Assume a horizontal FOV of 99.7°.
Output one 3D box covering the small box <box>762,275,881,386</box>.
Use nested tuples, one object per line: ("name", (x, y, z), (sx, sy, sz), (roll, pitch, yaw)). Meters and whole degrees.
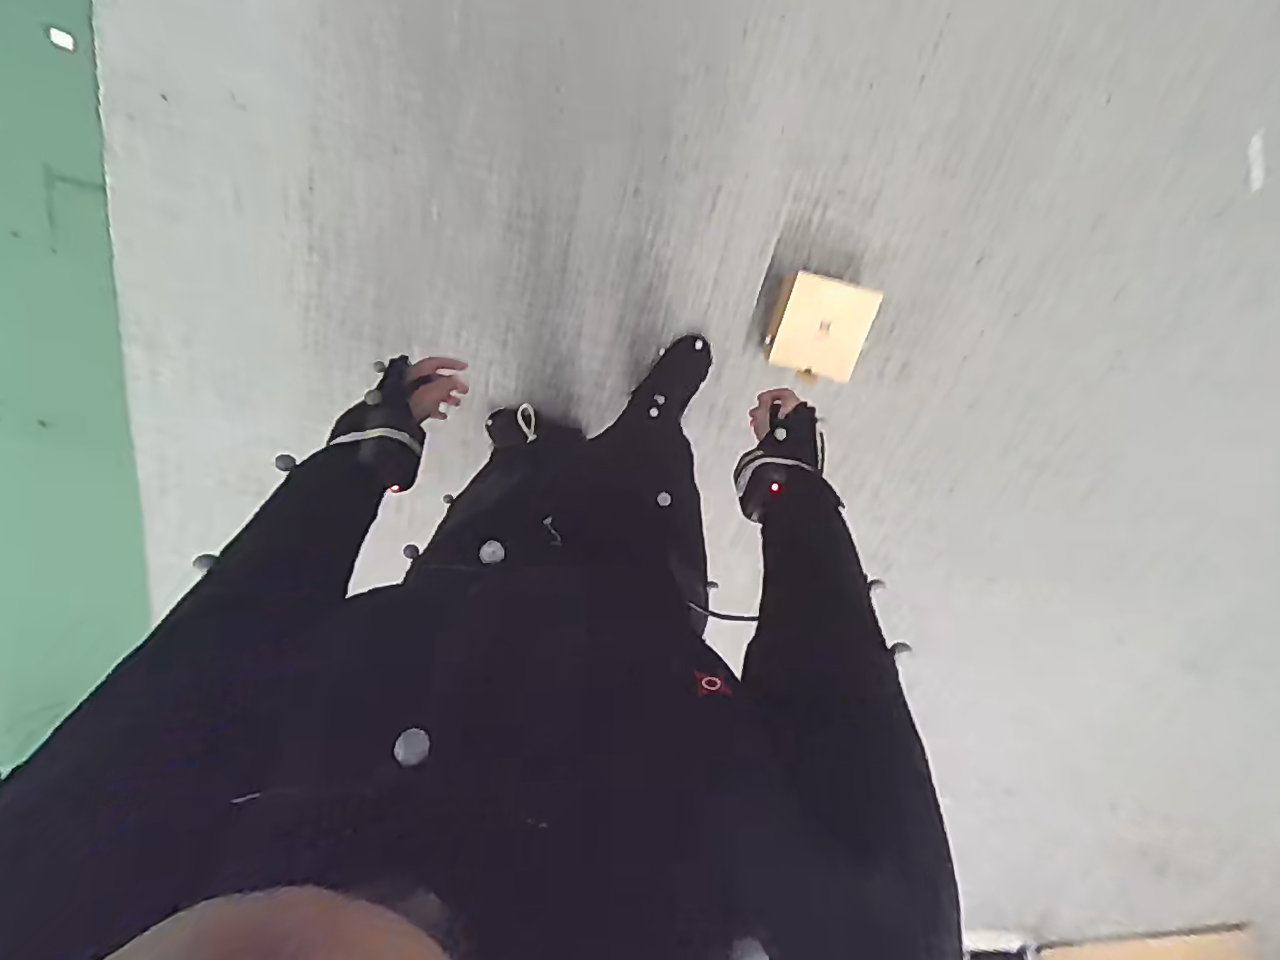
("small box", (0.360, -0.314, 1.112), (0.168, 0.176, 0.179), (15, 113, 0))
